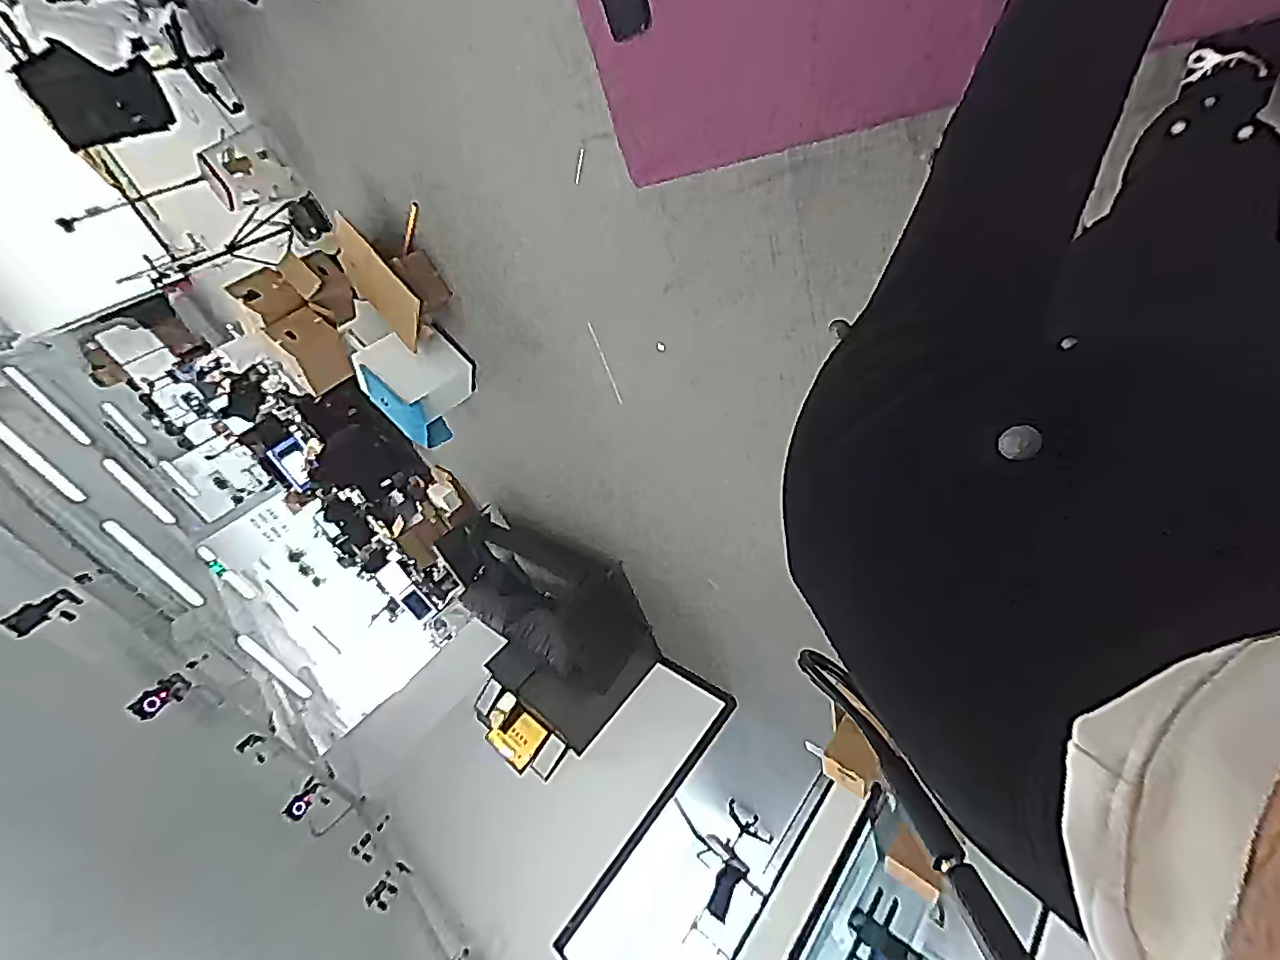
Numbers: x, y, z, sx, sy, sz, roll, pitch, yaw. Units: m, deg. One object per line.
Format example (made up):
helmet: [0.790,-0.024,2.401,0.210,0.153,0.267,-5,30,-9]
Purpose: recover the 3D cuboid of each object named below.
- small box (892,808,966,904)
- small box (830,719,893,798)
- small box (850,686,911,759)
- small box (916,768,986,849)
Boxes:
small box: [0.944,1.224,1.767,0.168,0.176,0.179,21,142,39]
small box: [0.837,1.045,2.043,0.168,0.176,0.179,23,143,40]
small box: [0.947,0.953,2.125,0.168,0.176,0.179,21,141,41]
small box: [1.052,1.129,1.843,0.168,0.176,0.179,22,143,39]
